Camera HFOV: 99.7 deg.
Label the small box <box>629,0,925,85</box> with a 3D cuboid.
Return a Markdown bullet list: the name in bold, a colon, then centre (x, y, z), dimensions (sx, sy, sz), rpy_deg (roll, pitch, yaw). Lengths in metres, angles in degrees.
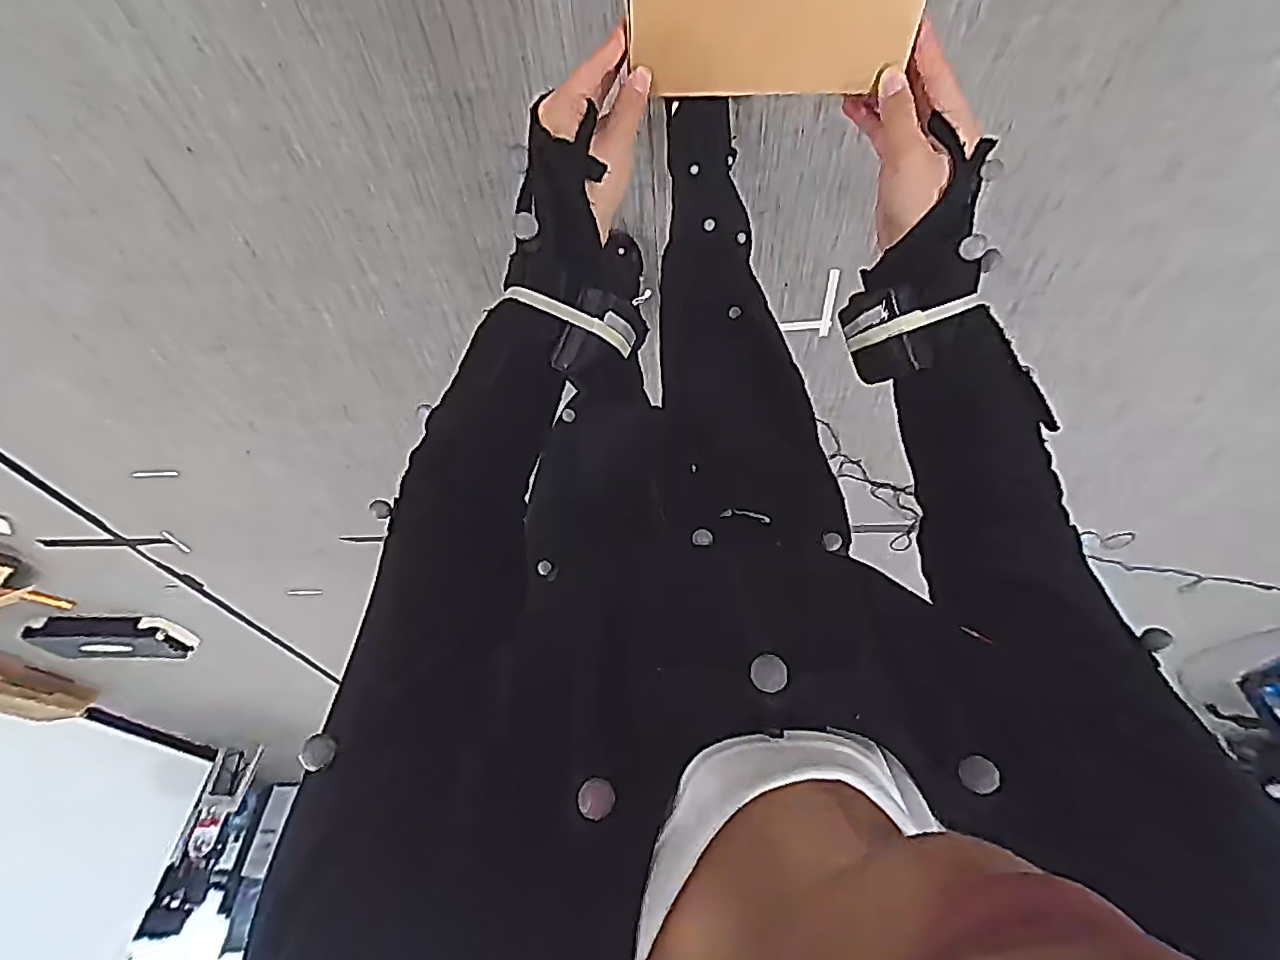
- **small box**: centre (0.080, -0.369, 0.330), dimensions (0.179, 0.176, 0.168), rpy_deg (0, 144, 1)
